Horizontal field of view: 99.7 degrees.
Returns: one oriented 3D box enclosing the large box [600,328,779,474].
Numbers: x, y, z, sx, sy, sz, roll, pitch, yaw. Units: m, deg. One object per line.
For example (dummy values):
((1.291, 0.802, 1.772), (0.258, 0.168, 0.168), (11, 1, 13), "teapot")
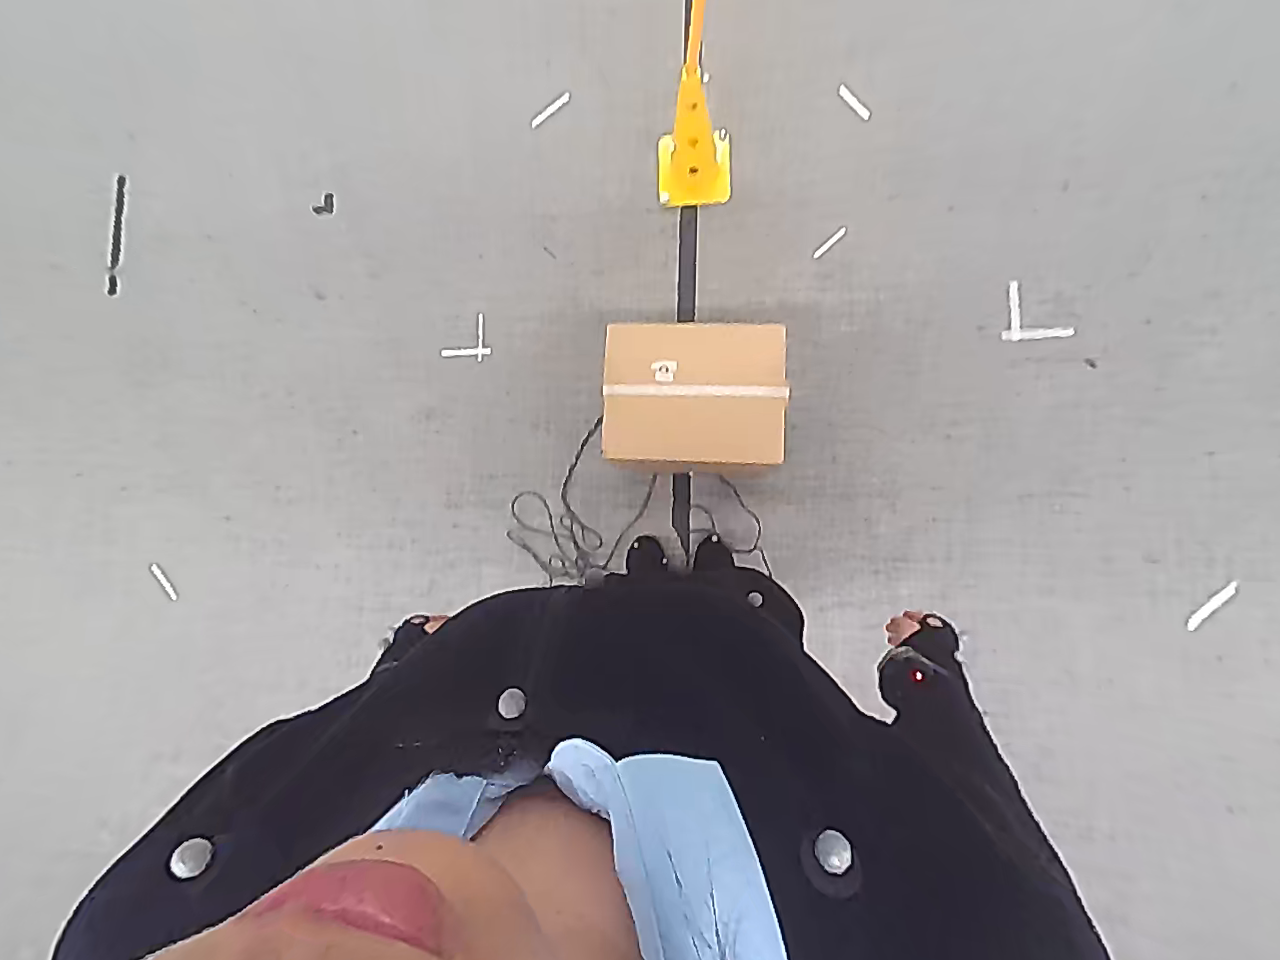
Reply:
((0.126, -0.179, 1.366), (0.408, 0.320, 0.320), (1, 84, 6), "large box")
